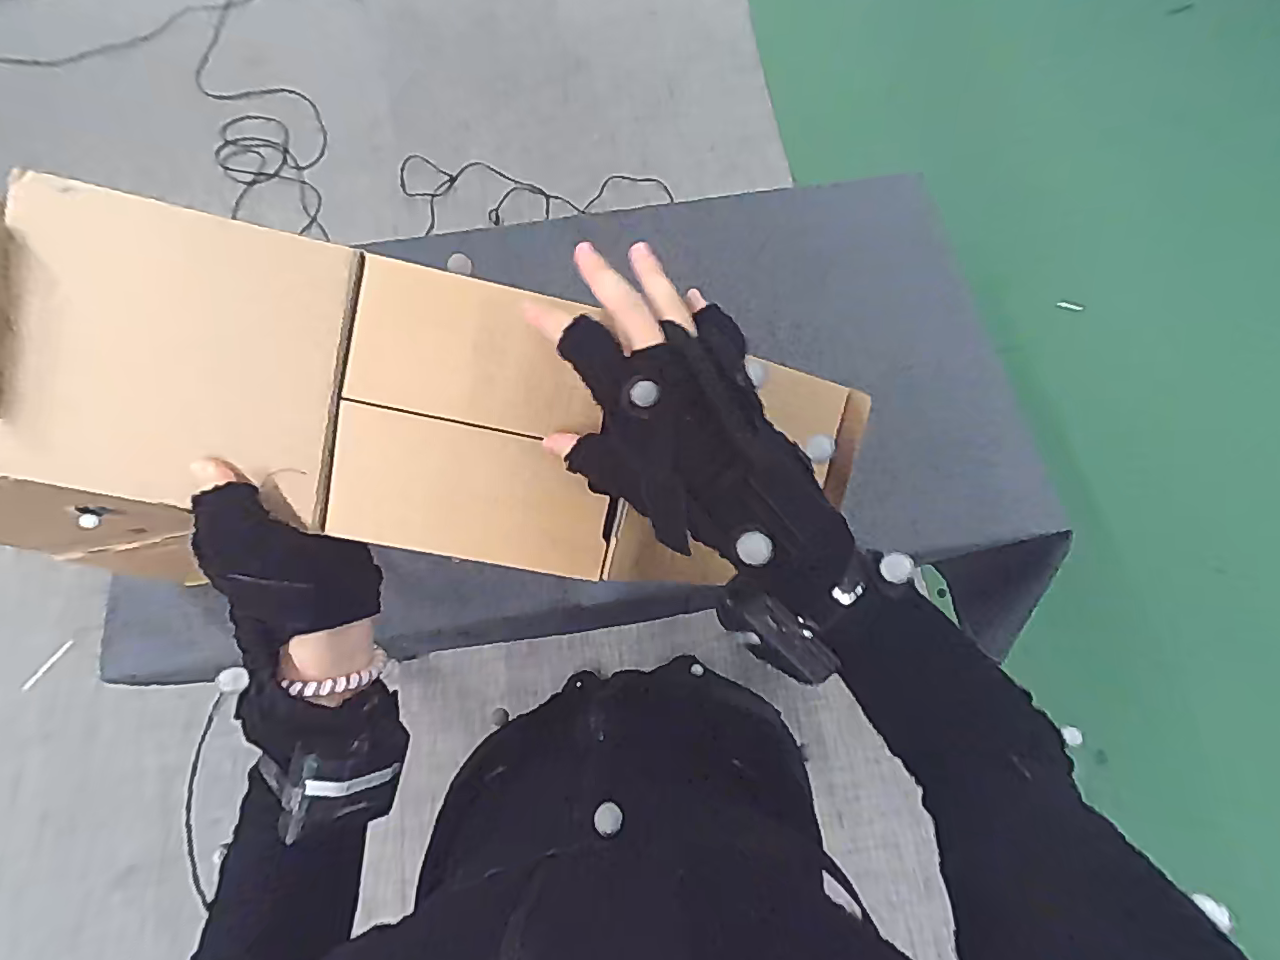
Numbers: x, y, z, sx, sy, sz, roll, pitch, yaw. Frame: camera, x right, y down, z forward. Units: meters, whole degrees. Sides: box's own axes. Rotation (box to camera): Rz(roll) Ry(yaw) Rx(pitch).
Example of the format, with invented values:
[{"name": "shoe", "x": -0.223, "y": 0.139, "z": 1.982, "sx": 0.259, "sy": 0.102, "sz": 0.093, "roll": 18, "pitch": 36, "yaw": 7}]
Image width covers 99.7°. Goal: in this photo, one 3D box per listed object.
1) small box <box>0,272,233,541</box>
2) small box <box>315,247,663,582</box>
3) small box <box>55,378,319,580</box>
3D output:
[{"name": "small box", "x": -0.504, "y": -0.050, "z": 0.481, "sx": 0.168, "sy": 0.176, "sz": 0.179, "roll": -9, "pitch": 71, "yaw": -4}, {"name": "small box", "x": -0.096, "y": -0.045, "z": 0.396, "sx": 0.179, "sy": 0.176, "sz": 0.168, "roll": 13, "pitch": 98, "yaw": -8}, {"name": "small box", "x": -0.505, "y": 0.007, "z": 0.634, "sx": 0.168, "sy": 0.176, "sz": 0.179, "roll": -10, "pitch": 72, "yaw": -3}]
